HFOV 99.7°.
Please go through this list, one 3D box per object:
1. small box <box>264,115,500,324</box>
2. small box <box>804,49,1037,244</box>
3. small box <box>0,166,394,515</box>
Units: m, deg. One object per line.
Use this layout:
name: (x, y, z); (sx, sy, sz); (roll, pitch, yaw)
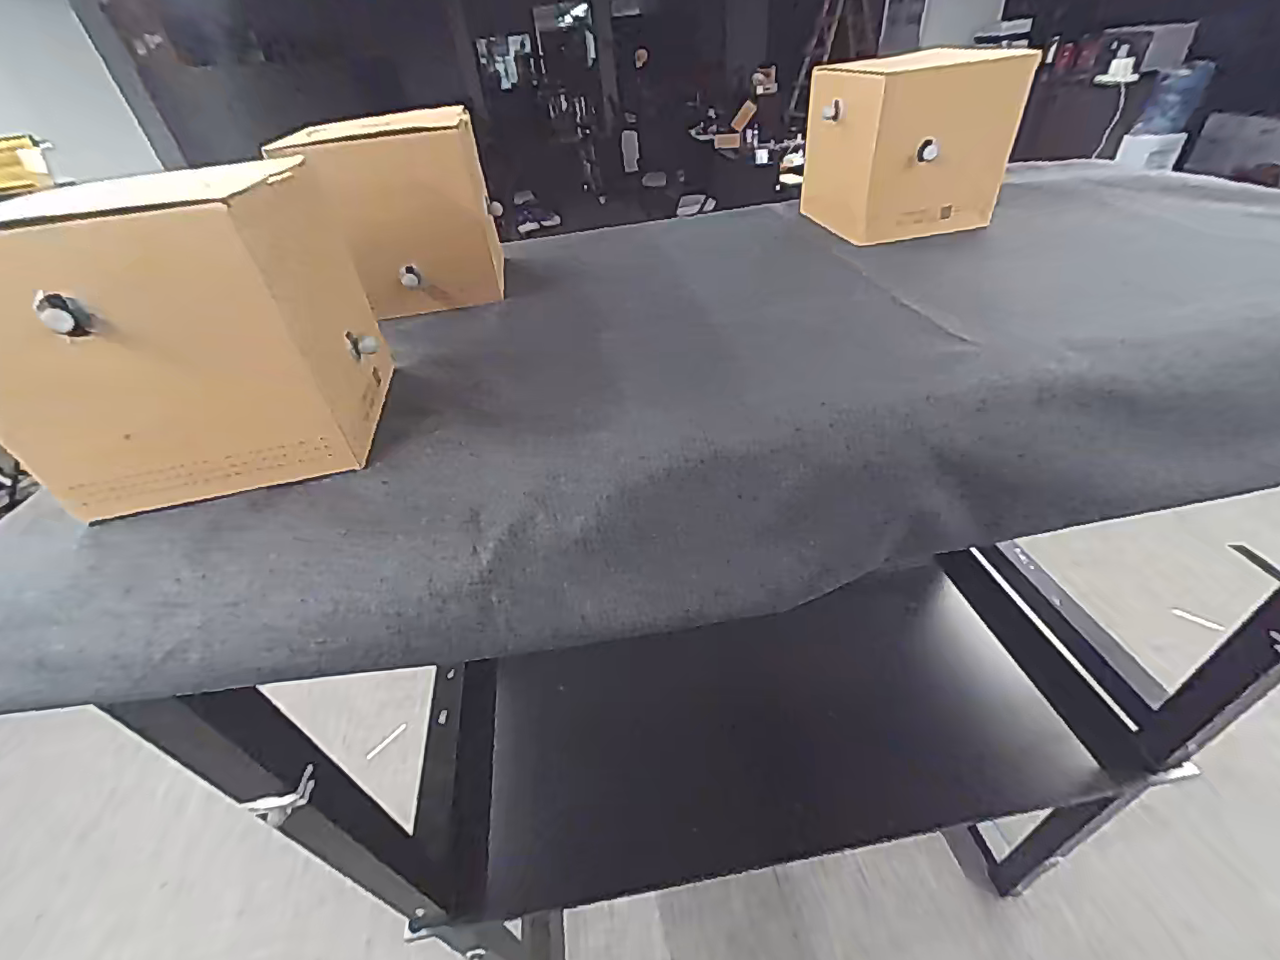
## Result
small box: (-0.256, -0.286, 0.595); (0.179, 0.176, 0.168); (-10, 39, -6)
small box: (0.309, -0.392, 0.643); (0.168, 0.176, 0.179); (-11, 39, -4)
small box: (-0.294, -0.097, 0.364); (0.179, 0.176, 0.168); (-12, 38, -7)
